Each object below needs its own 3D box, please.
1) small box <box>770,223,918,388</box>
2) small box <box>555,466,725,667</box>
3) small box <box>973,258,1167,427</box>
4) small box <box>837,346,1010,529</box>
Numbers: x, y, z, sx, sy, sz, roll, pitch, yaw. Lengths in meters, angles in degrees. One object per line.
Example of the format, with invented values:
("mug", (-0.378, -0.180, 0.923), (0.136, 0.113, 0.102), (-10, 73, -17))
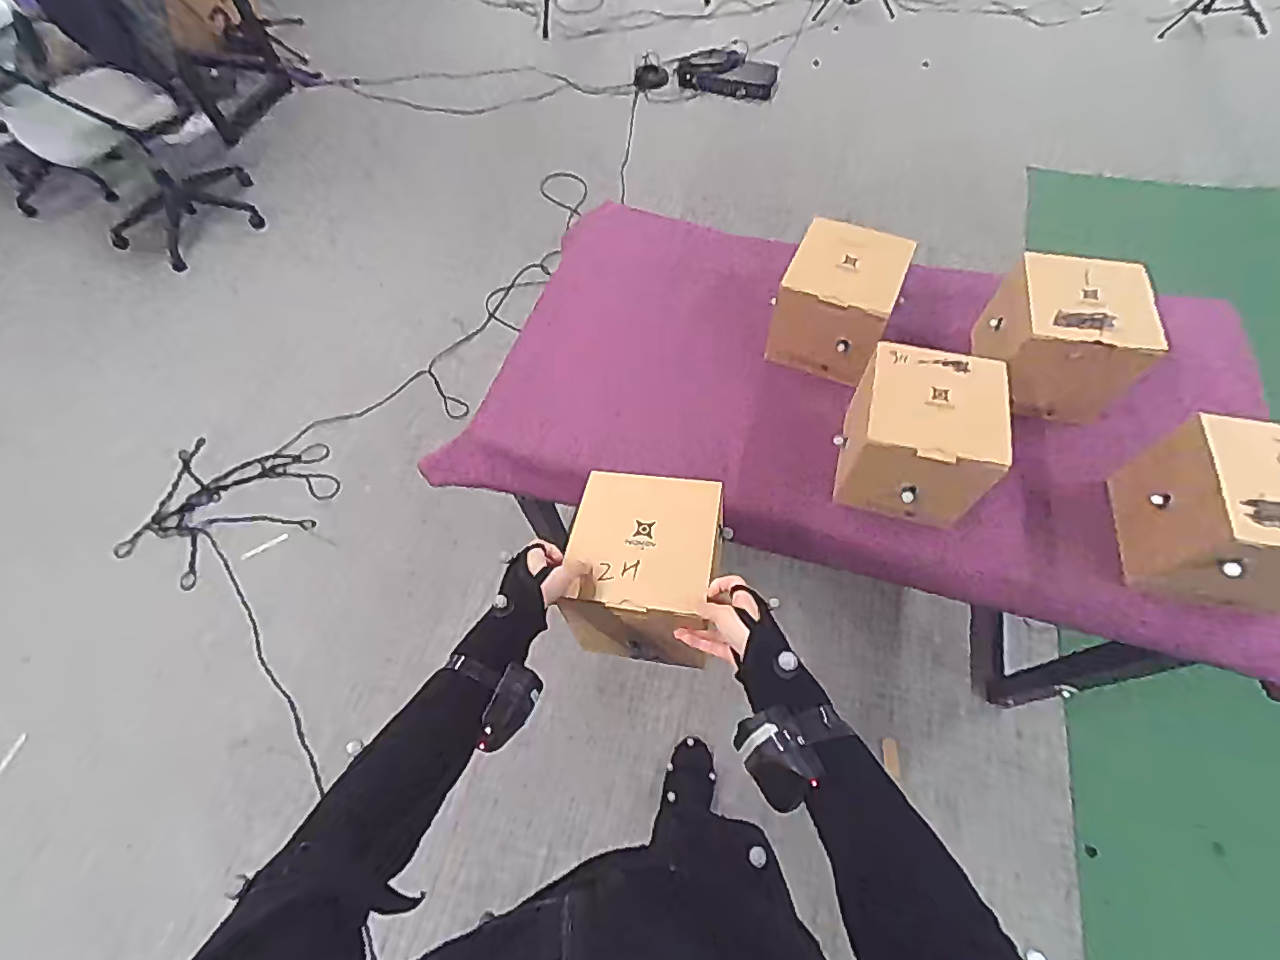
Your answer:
("small box", (0.325, -0.281, 0.892), (0.168, 0.176, 0.179), (22, 64, 15))
("small box", (0.012, 0.108, 0.671), (0.168, 0.176, 0.179), (6, 54, 12))
("small box", (0.634, -0.205, 0.825), (0.168, 0.176, 0.179), (12, 60, 10))
("small box", (0.383, -0.053, 0.753), (0.168, 0.176, 0.179), (14, 61, 11))
